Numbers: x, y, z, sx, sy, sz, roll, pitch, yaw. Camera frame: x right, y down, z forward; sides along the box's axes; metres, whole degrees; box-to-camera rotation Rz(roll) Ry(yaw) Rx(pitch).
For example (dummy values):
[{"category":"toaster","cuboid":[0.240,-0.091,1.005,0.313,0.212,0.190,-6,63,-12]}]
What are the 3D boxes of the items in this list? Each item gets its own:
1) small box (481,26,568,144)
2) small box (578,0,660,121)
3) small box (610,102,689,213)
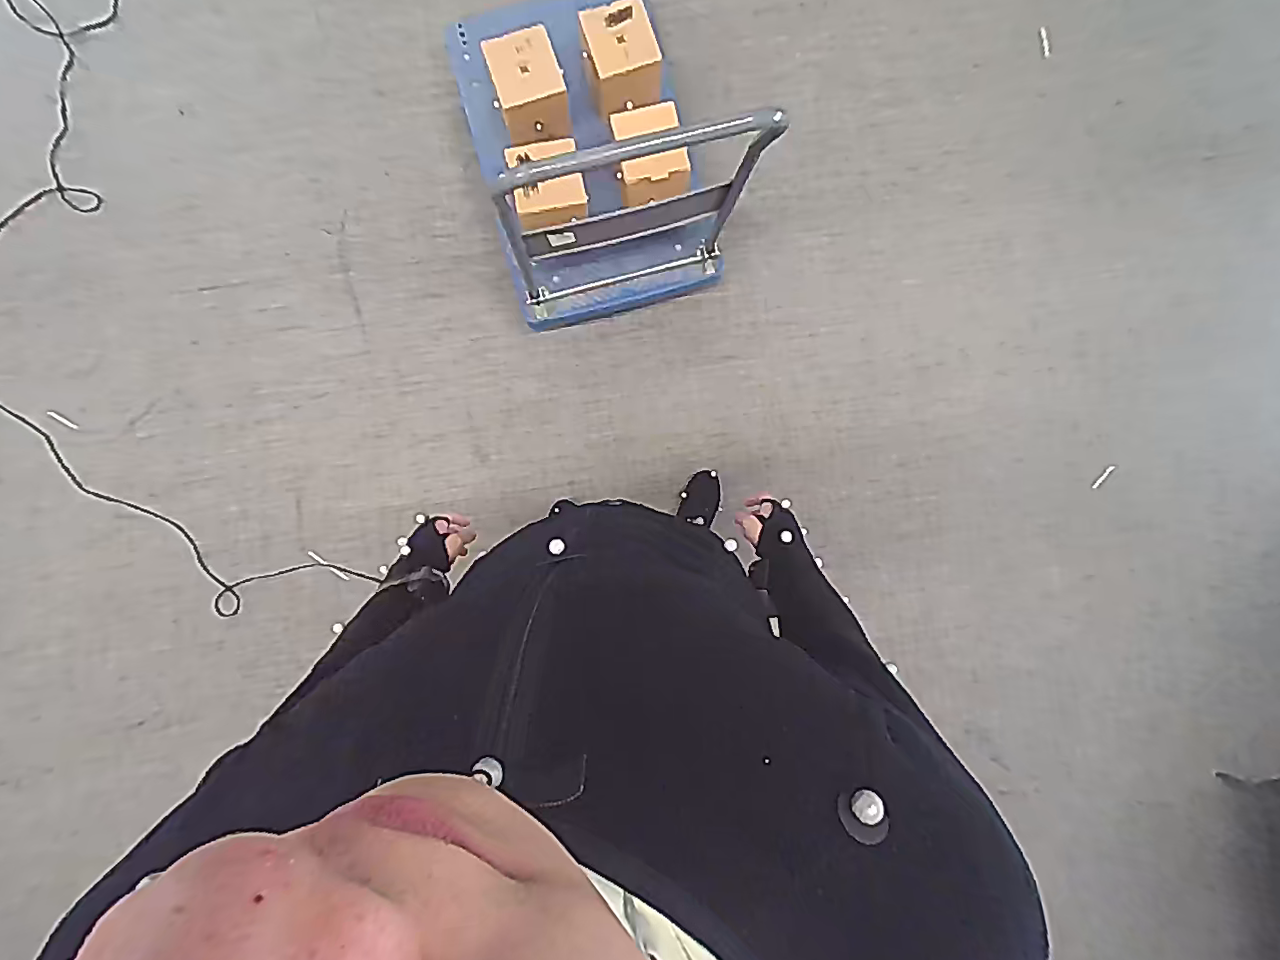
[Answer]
[{"category":"small box","cuboid":[-0.293,-1.017,1.413,0.168,0.176,0.179,-19,90,-4]},{"category":"small box","cuboid":[-0.056,-1.102,1.425,0.168,0.176,0.179,-19,91,-2]},{"category":"small box","cuboid":[0.018,-0.842,1.426,0.168,0.176,0.179,-15,90,-3]}]
